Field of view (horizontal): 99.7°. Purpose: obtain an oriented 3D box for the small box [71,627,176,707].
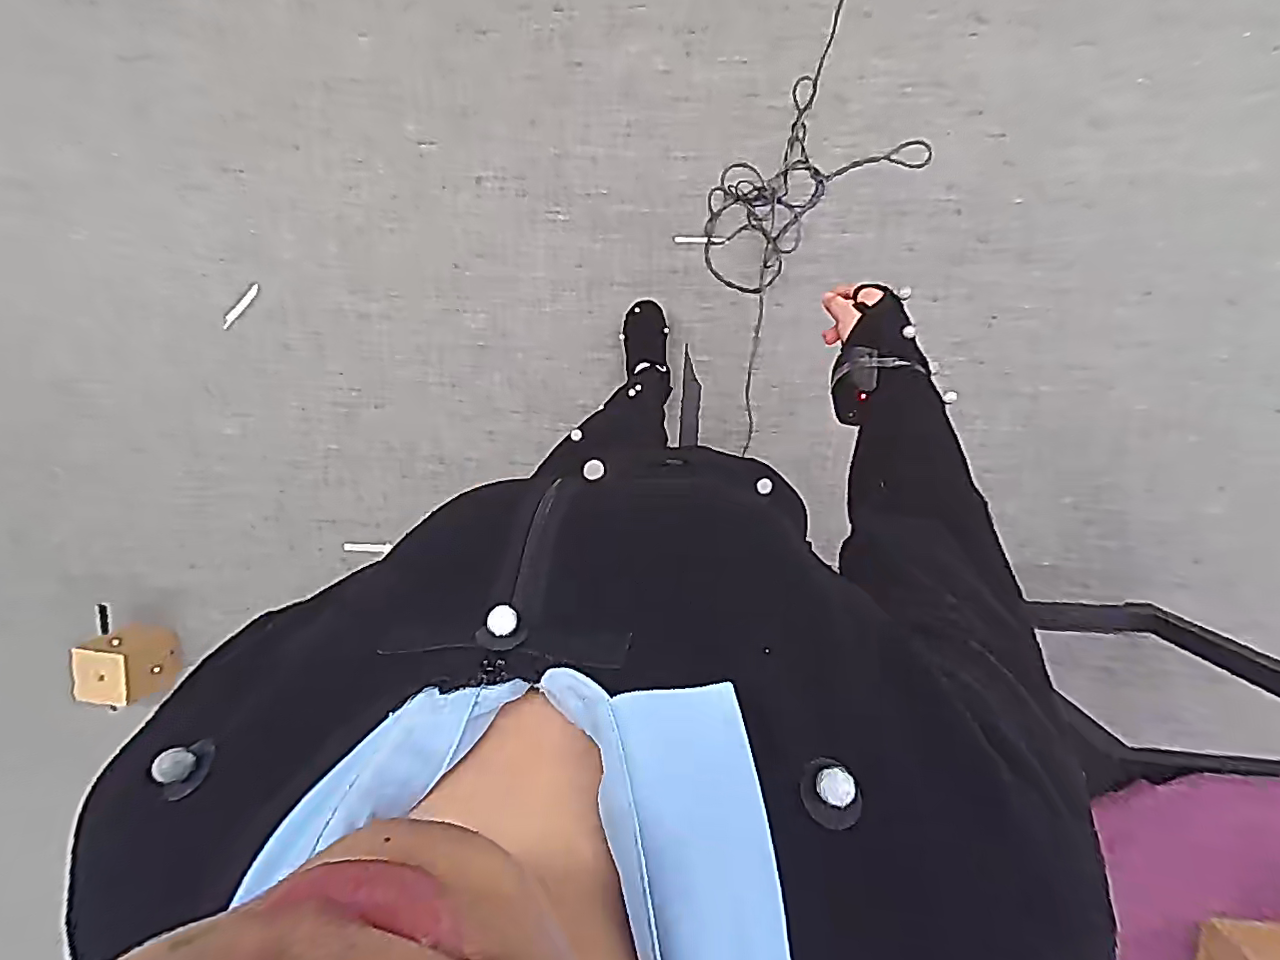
[{"bbox_3d":[-1.575,0.567,1.660,0.179,0.176,0.168,6,98,6],"label":"small box"}]
